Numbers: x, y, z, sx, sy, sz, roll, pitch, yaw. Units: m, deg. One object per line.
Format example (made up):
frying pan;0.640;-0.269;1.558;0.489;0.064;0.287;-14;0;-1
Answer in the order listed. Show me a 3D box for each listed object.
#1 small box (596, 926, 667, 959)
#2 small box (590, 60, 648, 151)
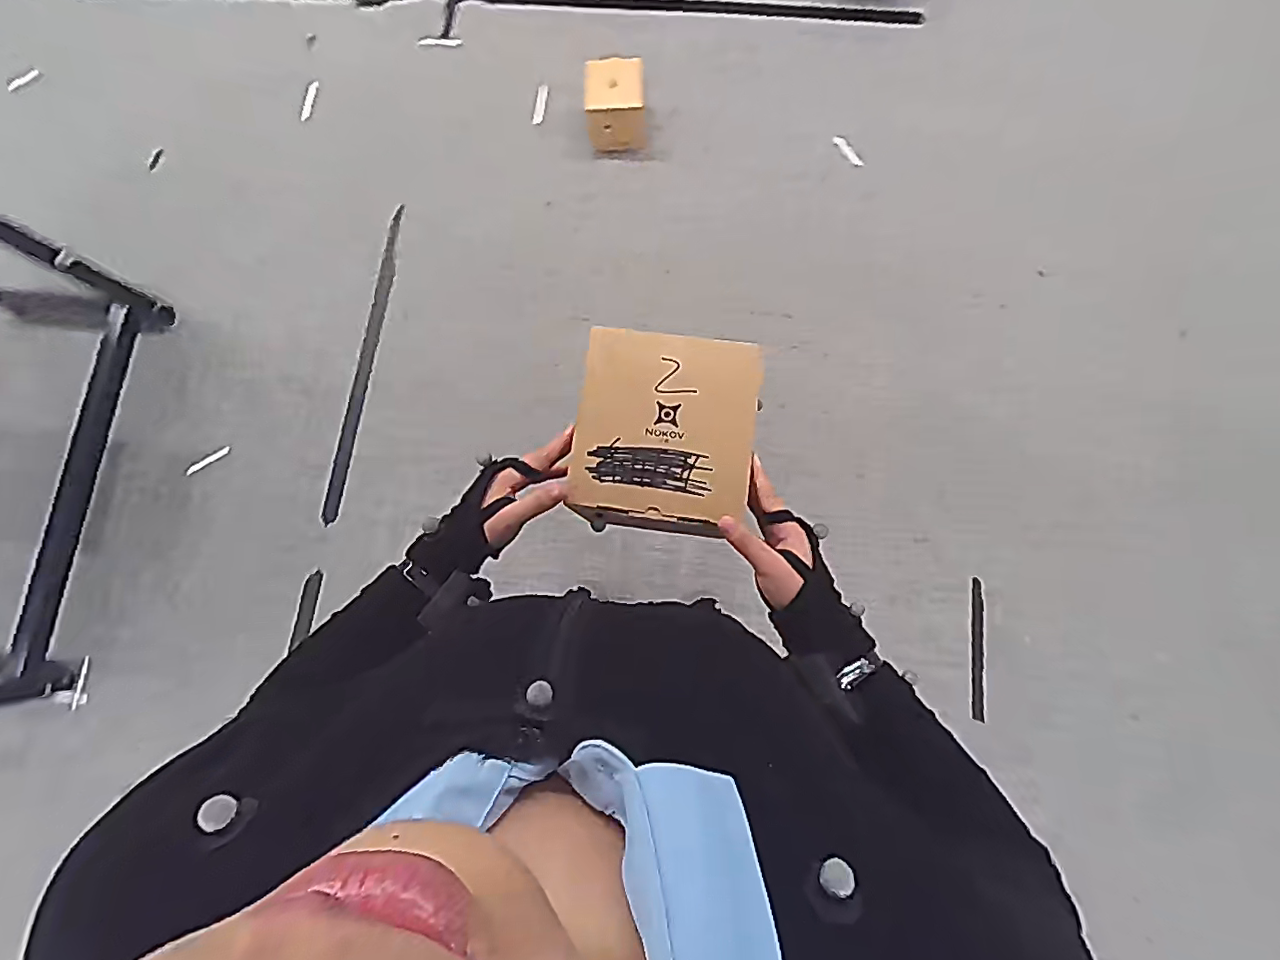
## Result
small box;-0.035;1.193;1.249;0.168;0.176;0.179;16;81;6
small box;-0.061;-1.162;1.689;0.168;0.176;0.179;0;79;3
